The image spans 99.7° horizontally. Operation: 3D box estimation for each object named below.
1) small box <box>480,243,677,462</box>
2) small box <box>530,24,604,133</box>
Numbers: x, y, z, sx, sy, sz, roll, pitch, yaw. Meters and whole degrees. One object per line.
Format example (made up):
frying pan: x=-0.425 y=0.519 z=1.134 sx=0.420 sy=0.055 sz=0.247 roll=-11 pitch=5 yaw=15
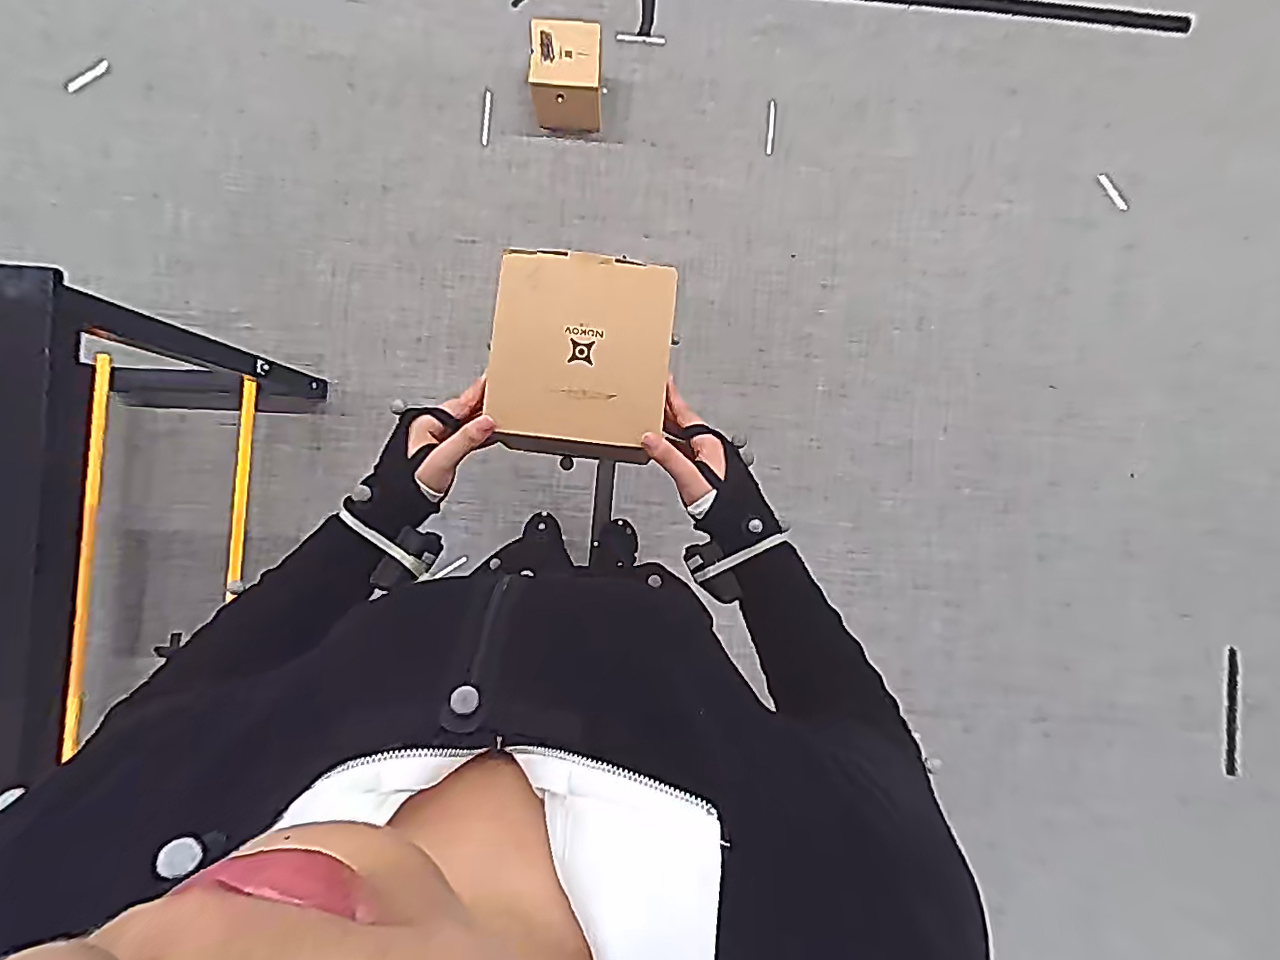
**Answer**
small box: x=-0.060 y=-0.120 z=0.577 sx=0.168 sy=0.176 sz=0.179 roll=6 pitch=87 yaw=-3
small box: x=-0.190 y=-1.063 z=1.443 sx=0.179 sy=0.176 sz=0.168 roll=2 pitch=89 yaw=-2
